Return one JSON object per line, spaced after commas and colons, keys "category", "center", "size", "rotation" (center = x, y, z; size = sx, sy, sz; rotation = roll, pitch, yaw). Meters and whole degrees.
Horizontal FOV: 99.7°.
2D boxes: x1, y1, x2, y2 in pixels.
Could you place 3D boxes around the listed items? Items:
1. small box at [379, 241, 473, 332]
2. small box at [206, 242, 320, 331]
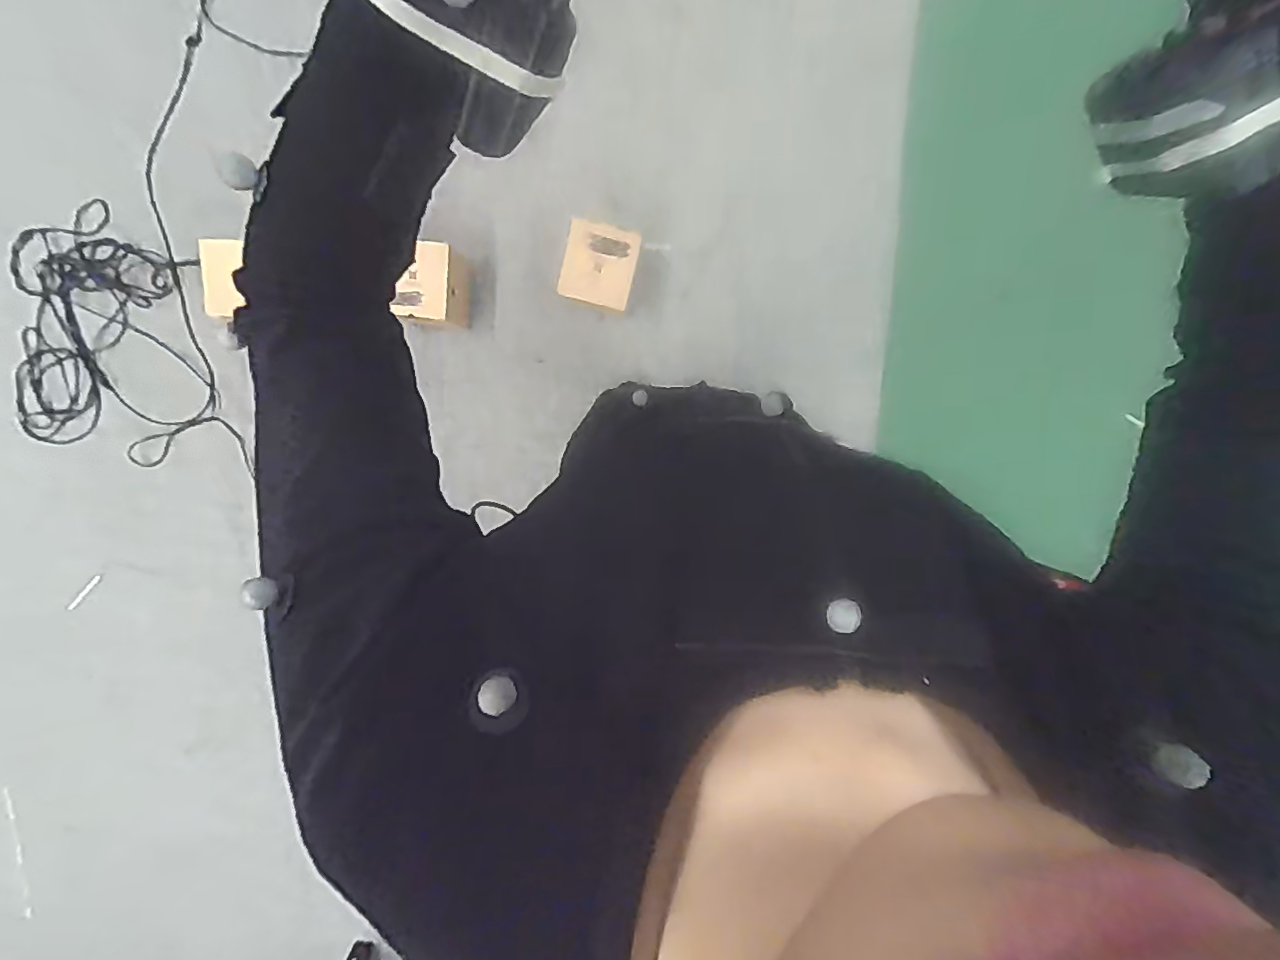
{"category": "small box", "center": [-0.520, -0.468, 1.333], "size": [0.168, 0.176, 0.179], "rotation": [6, 98, 0]}
{"category": "small box", "center": [-0.923, -0.472, 1.338], "size": [0.168, 0.176, 0.179], "rotation": [1, 99, 1]}
